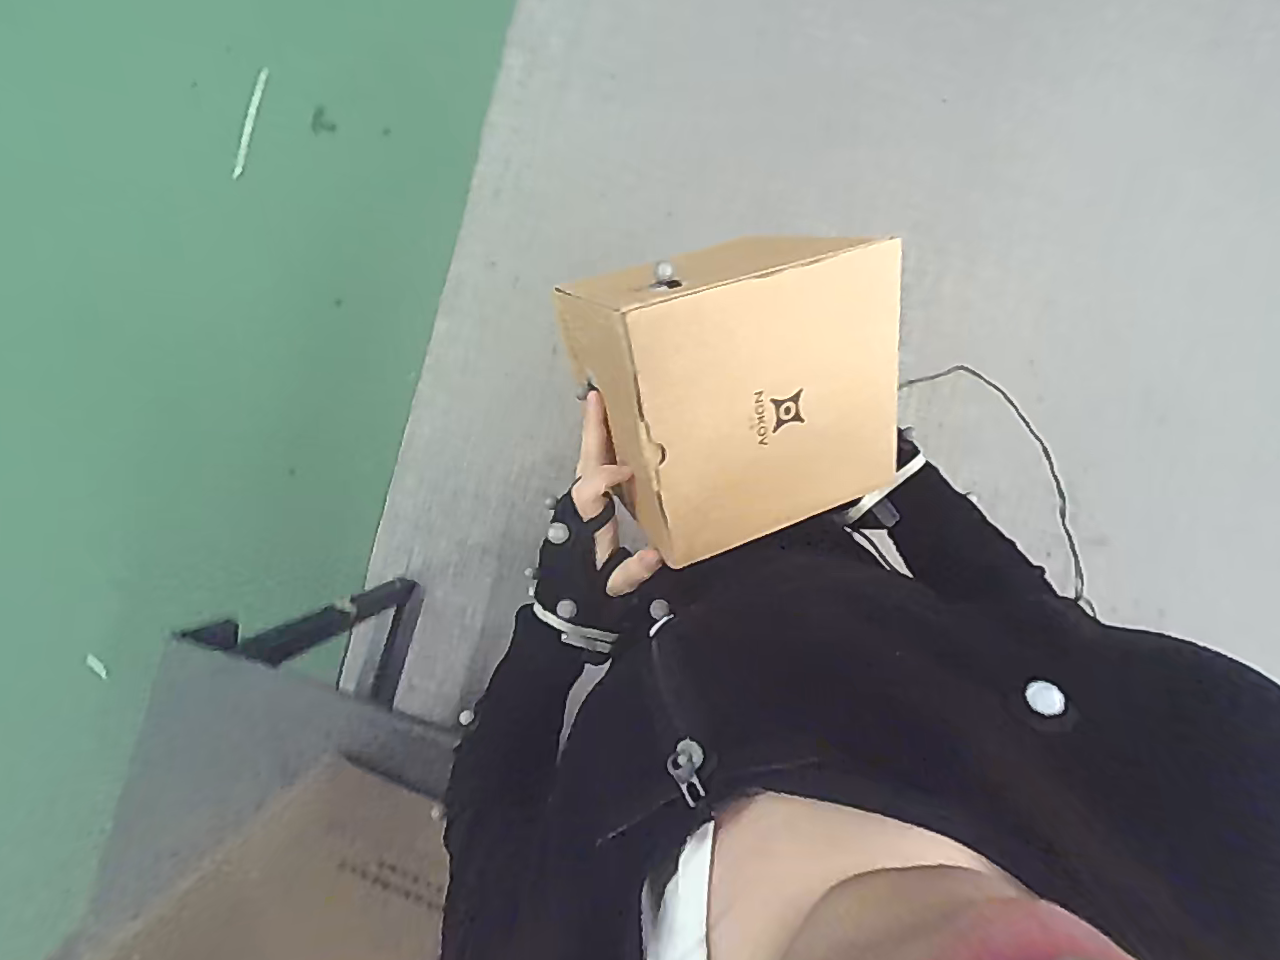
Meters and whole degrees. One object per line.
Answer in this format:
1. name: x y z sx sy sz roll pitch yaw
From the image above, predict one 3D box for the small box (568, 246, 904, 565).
1. small box: 0.061 -0.071 0.404 0.179 0.176 0.168 -18 118 -12
